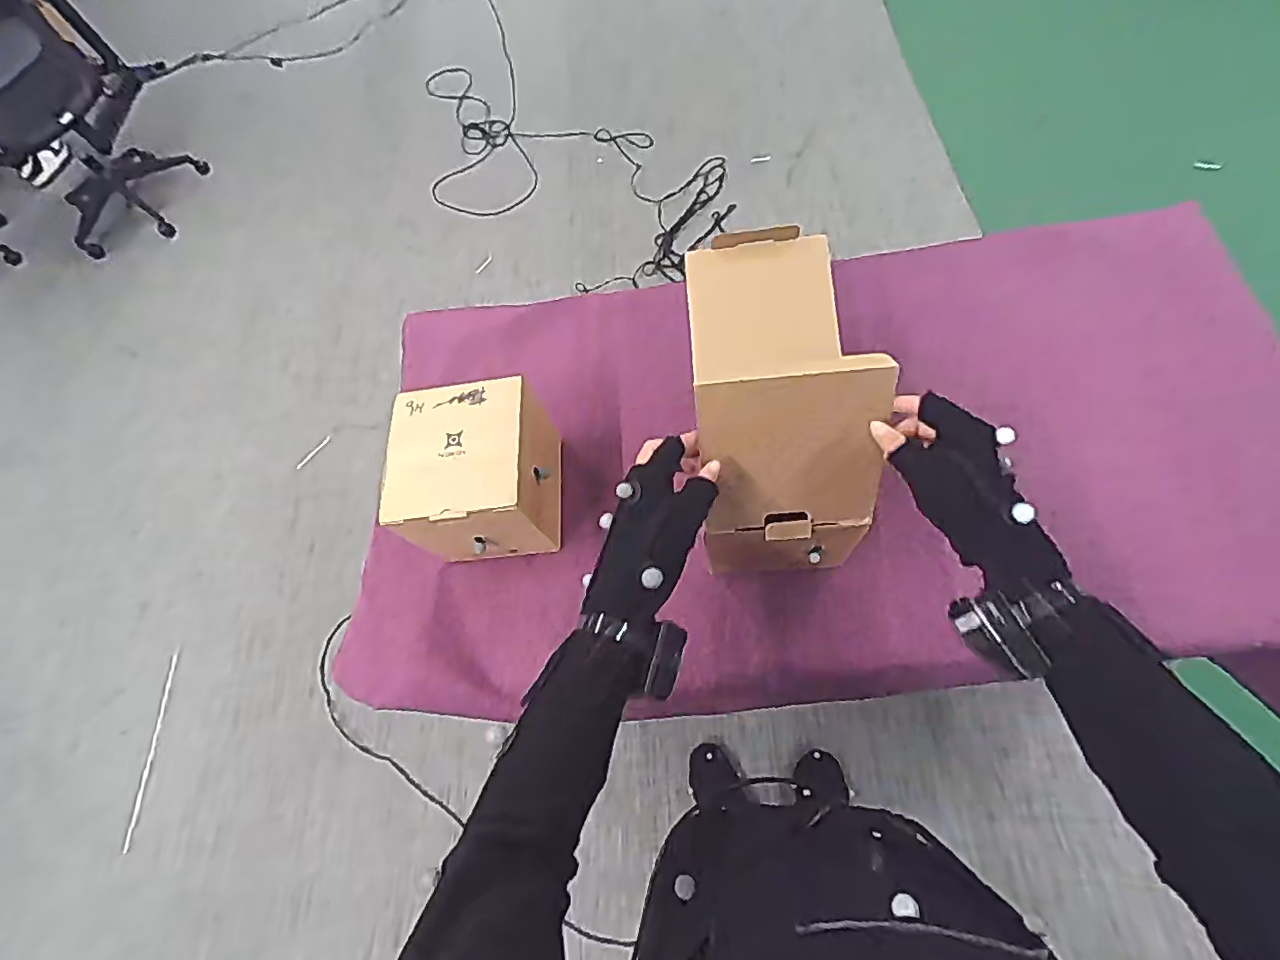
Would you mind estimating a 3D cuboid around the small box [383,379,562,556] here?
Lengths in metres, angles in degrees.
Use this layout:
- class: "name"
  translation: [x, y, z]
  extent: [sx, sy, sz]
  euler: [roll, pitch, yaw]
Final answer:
- class: "small box"
  translation: [-0.202, -0.005, 0.704]
  extent: [0.168, 0.176, 0.179]
  euler: [-7, 66, 6]

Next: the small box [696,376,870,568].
- class: "small box"
  translation: [0.157, 0.003, 0.639]
  extent: [0.168, 0.176, 0.179]
  euler: [-4, 65, 8]
